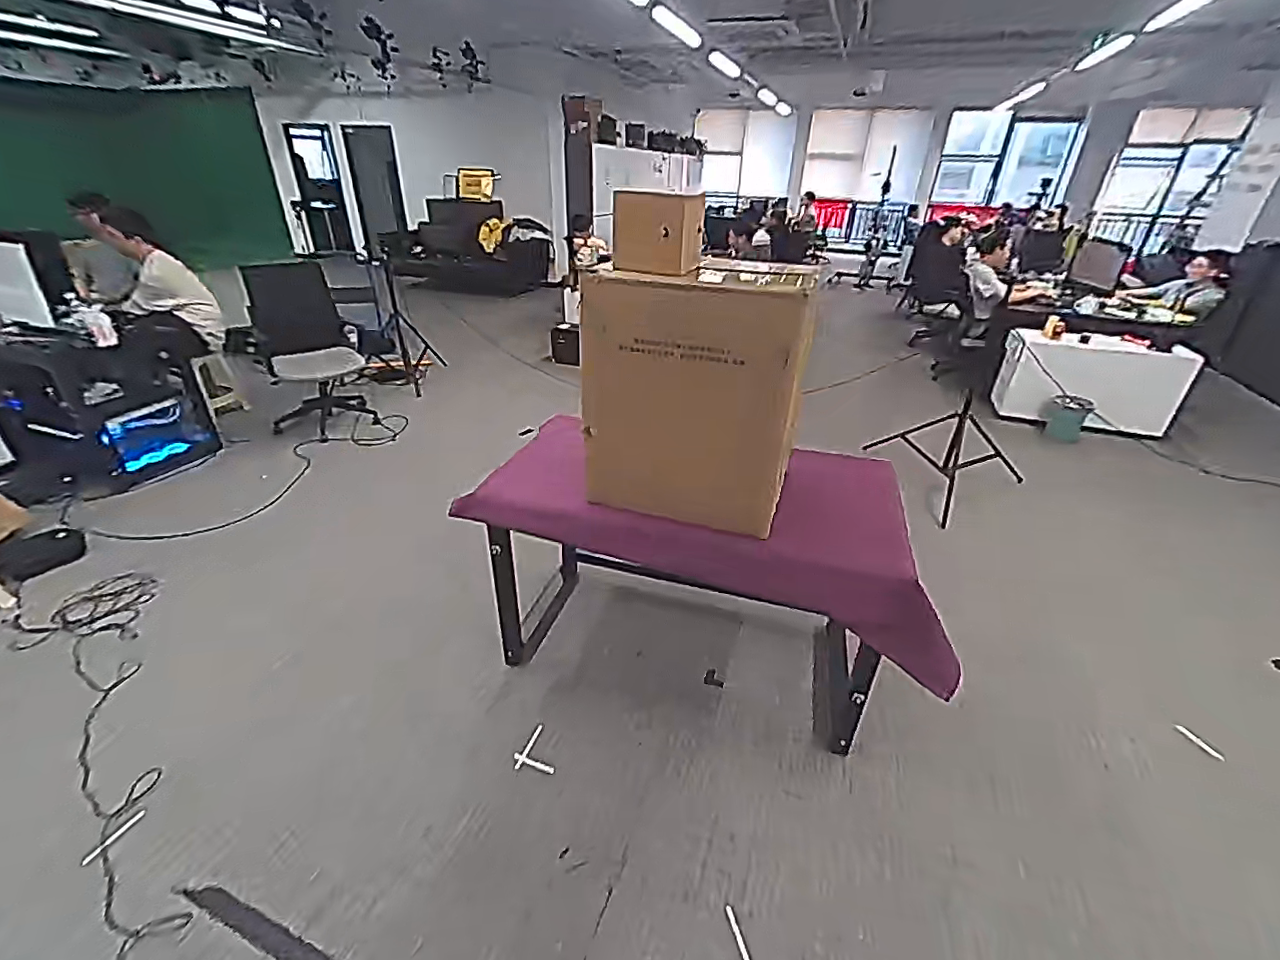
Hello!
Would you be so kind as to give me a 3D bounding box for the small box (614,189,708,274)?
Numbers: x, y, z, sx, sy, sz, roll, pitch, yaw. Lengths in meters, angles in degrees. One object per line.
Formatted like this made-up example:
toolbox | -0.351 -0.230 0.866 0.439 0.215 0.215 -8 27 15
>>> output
small box | 0.050 -0.591 1.285 0.179 0.176 0.168 12 31 18
